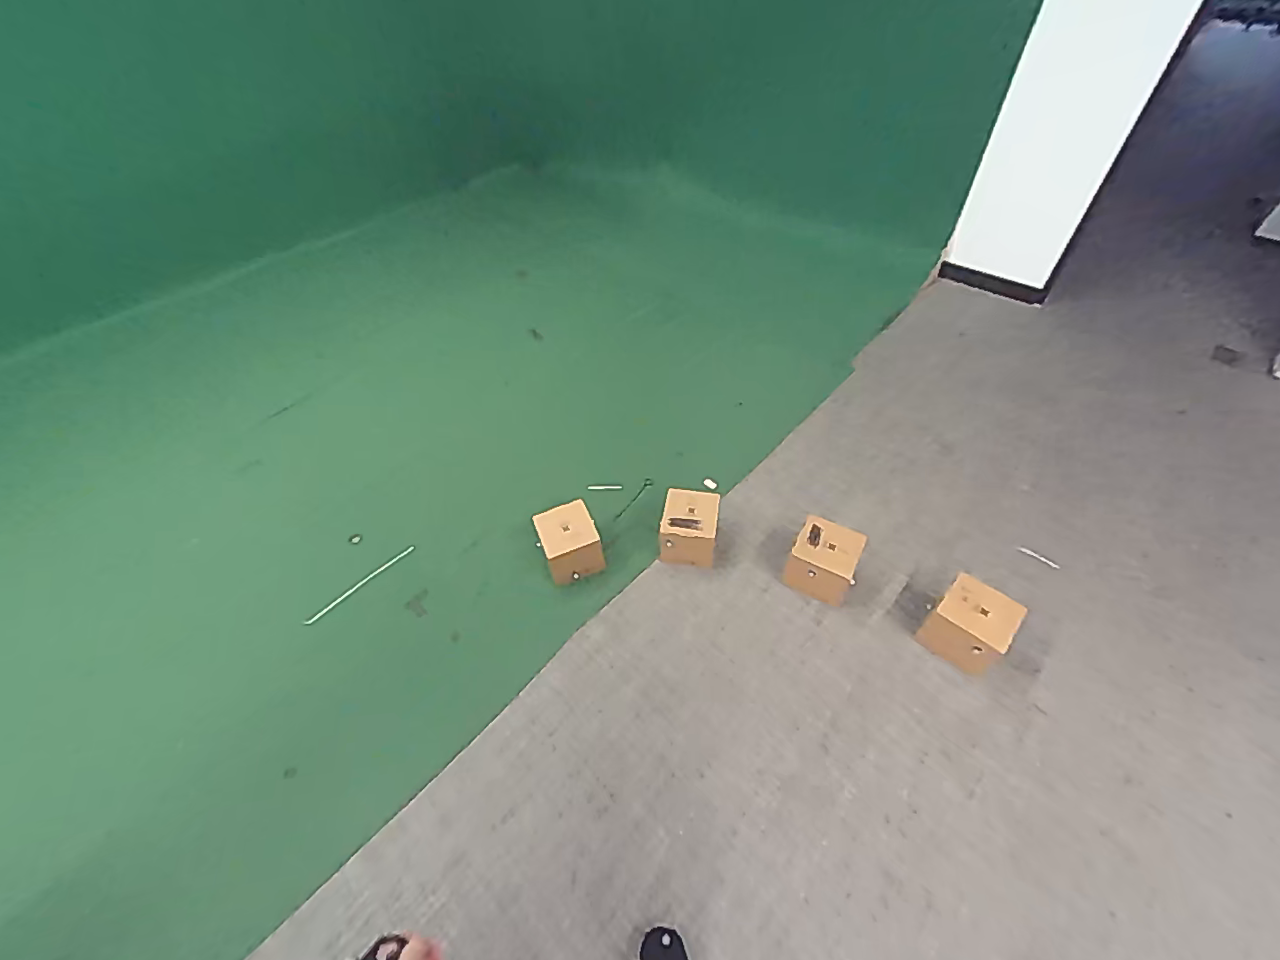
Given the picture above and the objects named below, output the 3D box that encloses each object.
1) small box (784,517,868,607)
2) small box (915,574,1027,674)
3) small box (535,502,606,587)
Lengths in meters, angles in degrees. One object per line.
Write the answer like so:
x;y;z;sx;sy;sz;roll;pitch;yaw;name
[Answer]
0.544;0.247;1.603;0.179;0.176;0.168;23;55;21;small box
0.881;0.394;1.451;0.179;0.176;0.168;35;59;29;small box
-0.216;0.204;1.696;0.168;0.176;0.179;-19;50;-12;small box
